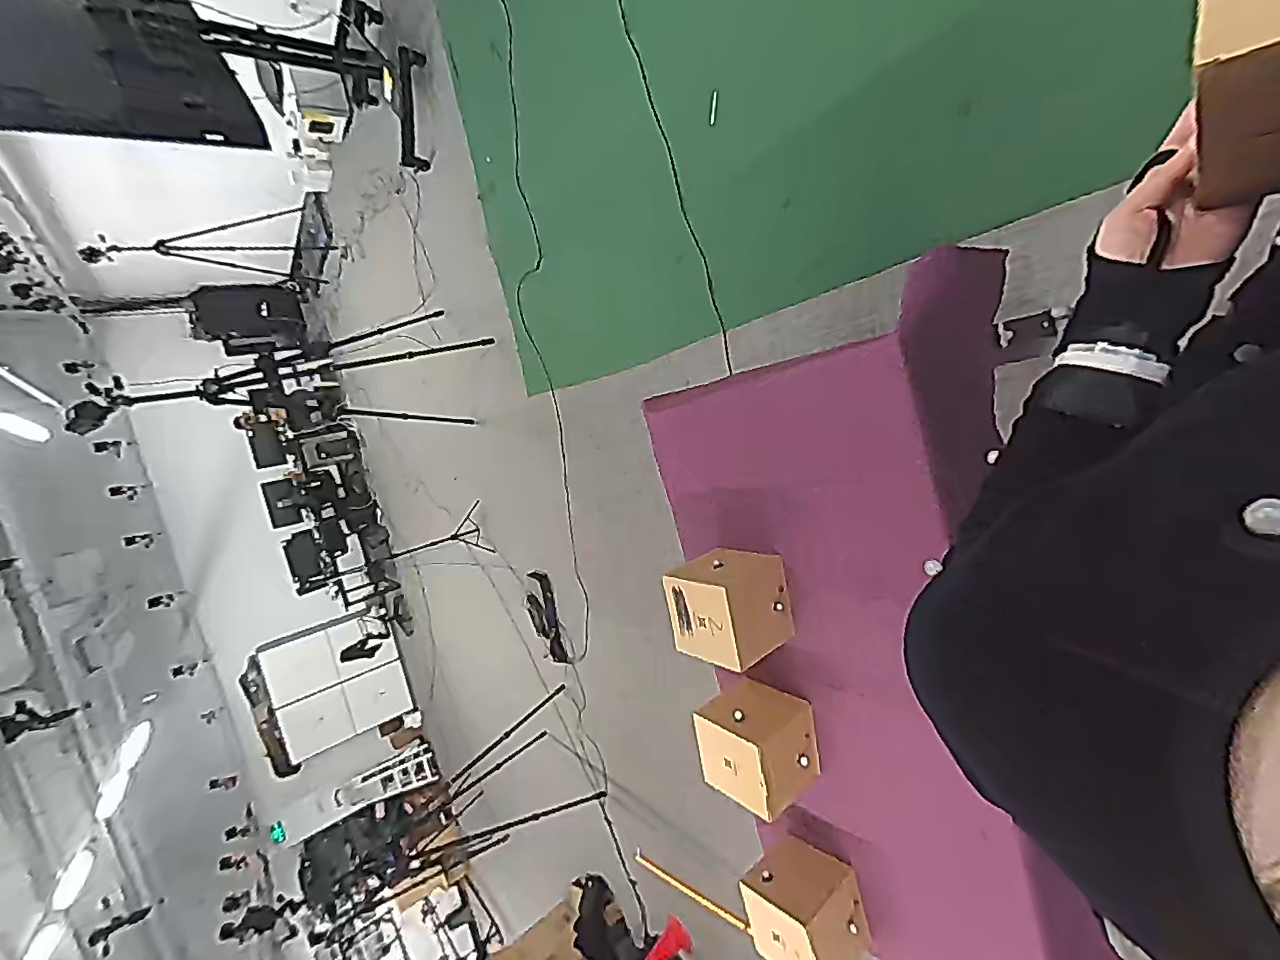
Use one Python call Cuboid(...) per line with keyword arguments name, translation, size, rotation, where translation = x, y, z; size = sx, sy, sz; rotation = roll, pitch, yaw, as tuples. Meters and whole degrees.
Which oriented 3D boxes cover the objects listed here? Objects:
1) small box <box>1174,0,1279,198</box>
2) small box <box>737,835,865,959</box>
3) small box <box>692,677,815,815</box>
Cuboid(name="small box", translation=(0.390, -0.277, 0.263), size=(0.179, 0.168, 0.176), rotation=(7, 92, 45))
Cuboid(name="small box", translation=(0.336, 0.888, 1.128), size=(0.179, 0.176, 0.168), rotation=(-9, 97, 53))
Cuboid(name="small box", translation=(0.235, 0.535, 1.118), size=(0.179, 0.176, 0.168), rotation=(2, 106, 51))
